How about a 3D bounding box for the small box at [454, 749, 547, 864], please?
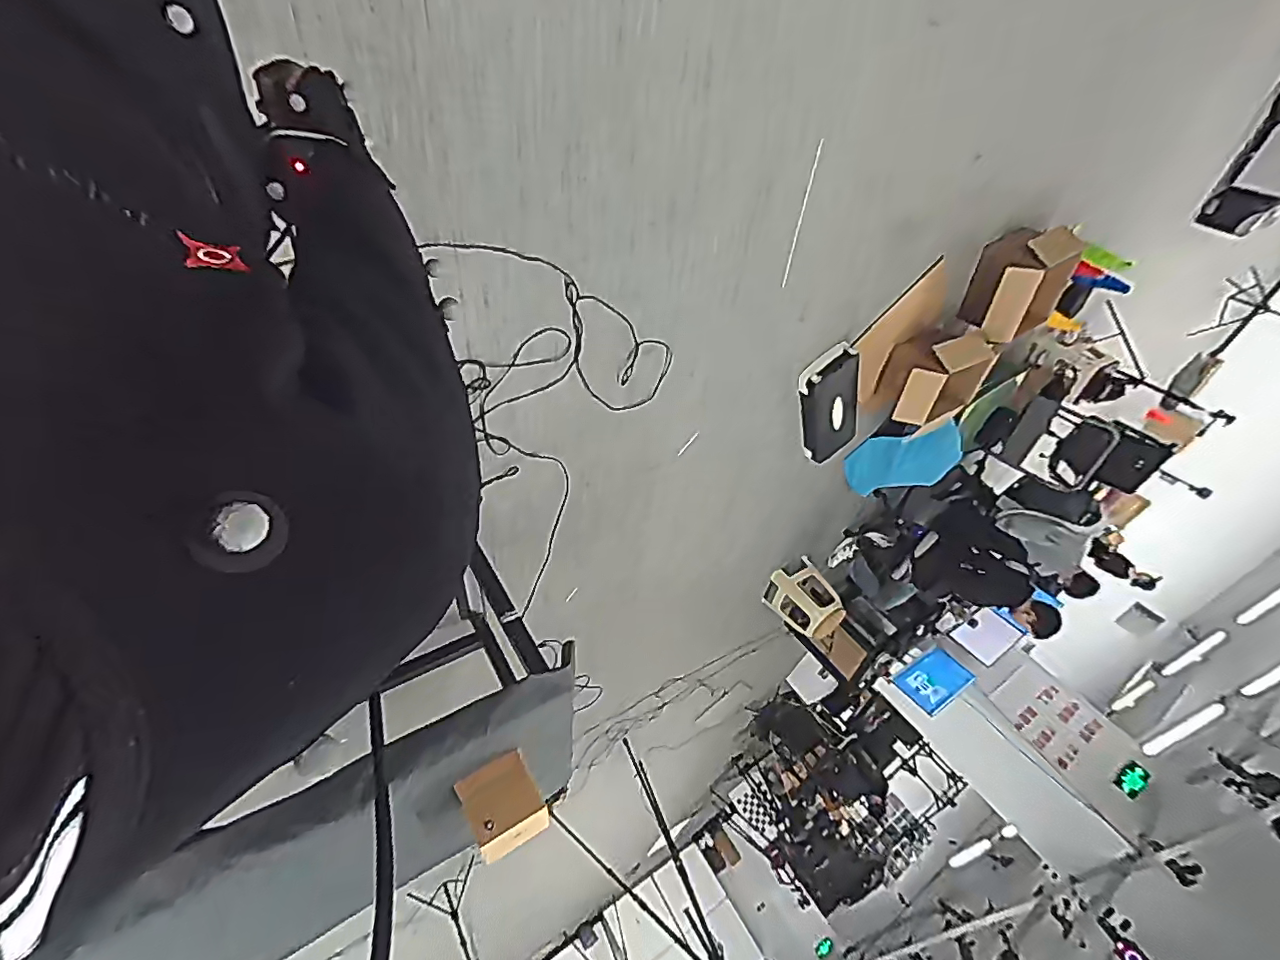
[{"bbox_3d":[-0.355,0.831,1.387,0.179,0.176,0.168,-21,139,-26],"label":"small box"}]
